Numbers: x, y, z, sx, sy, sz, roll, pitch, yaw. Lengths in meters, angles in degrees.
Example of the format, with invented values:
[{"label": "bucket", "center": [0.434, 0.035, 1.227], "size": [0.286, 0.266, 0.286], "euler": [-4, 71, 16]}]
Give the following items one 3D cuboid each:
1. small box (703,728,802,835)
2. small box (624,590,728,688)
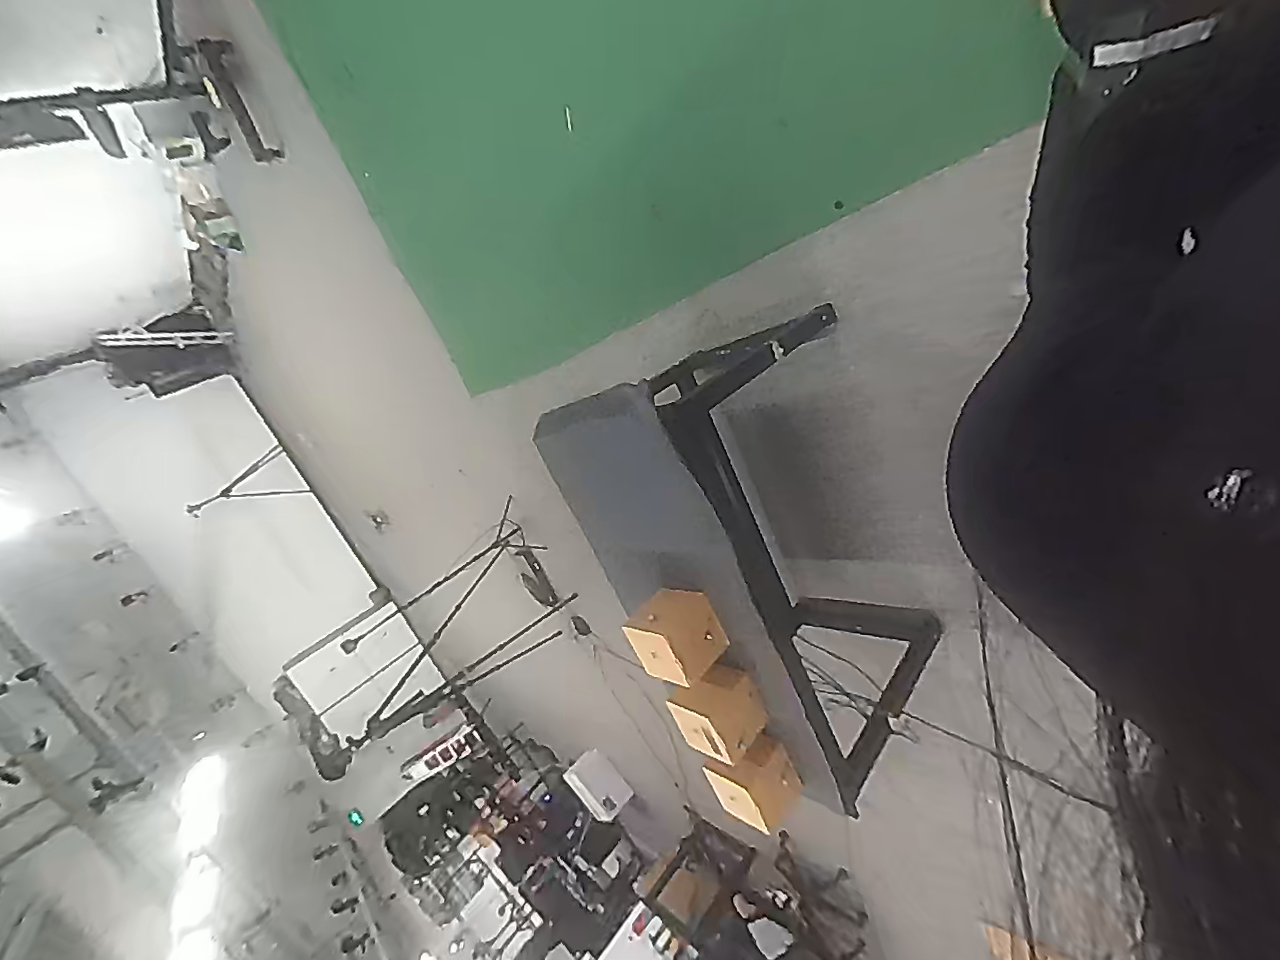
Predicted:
[{"label": "small box", "center": [0.315, 0.828, 1.506], "size": [0.179, 0.176, 0.168], "euler": [-9, 112, 53]}, {"label": "small box", "center": [0.096, 0.404, 1.408], "size": [0.179, 0.176, 0.168], "euler": [-9, 112, 52]}]
